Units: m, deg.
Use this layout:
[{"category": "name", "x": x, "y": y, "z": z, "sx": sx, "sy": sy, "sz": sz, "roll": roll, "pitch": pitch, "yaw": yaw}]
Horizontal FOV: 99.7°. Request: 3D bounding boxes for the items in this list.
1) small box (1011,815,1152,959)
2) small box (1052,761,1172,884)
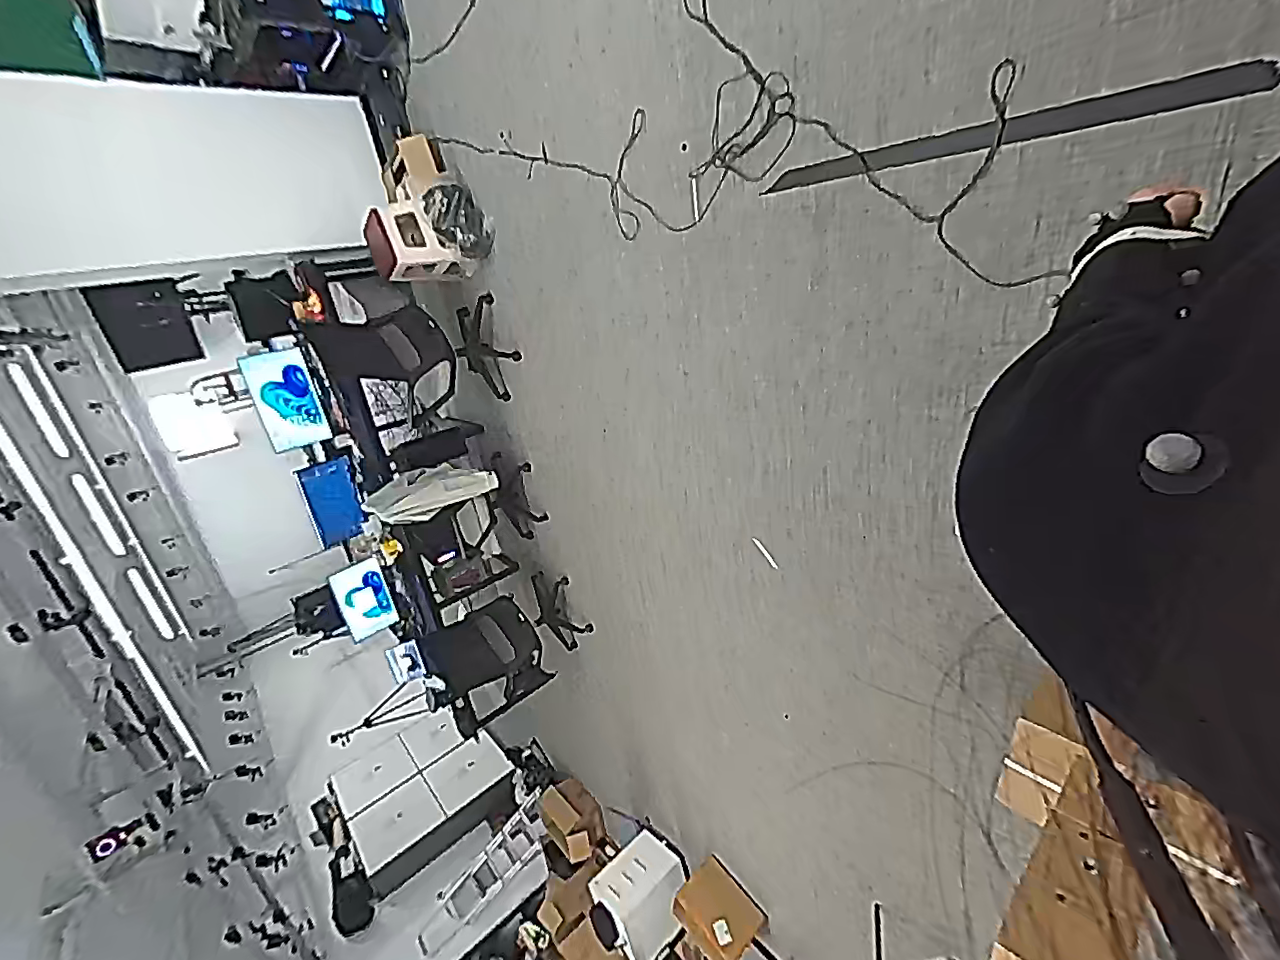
[{"category": "small box", "x": 0.863, "y": 0.812, "z": 1.057, "sx": 0.168, "sy": 0.176, "sz": 0.179, "roll": 21, "pitch": 125, "yaw": 46}, {"category": "small box", "x": 0.985, "y": 0.746, "z": 1.146, "sx": 0.168, "sy": 0.176, "sz": 0.179, "roll": 24, "pitch": 129, "yaw": 44}]
